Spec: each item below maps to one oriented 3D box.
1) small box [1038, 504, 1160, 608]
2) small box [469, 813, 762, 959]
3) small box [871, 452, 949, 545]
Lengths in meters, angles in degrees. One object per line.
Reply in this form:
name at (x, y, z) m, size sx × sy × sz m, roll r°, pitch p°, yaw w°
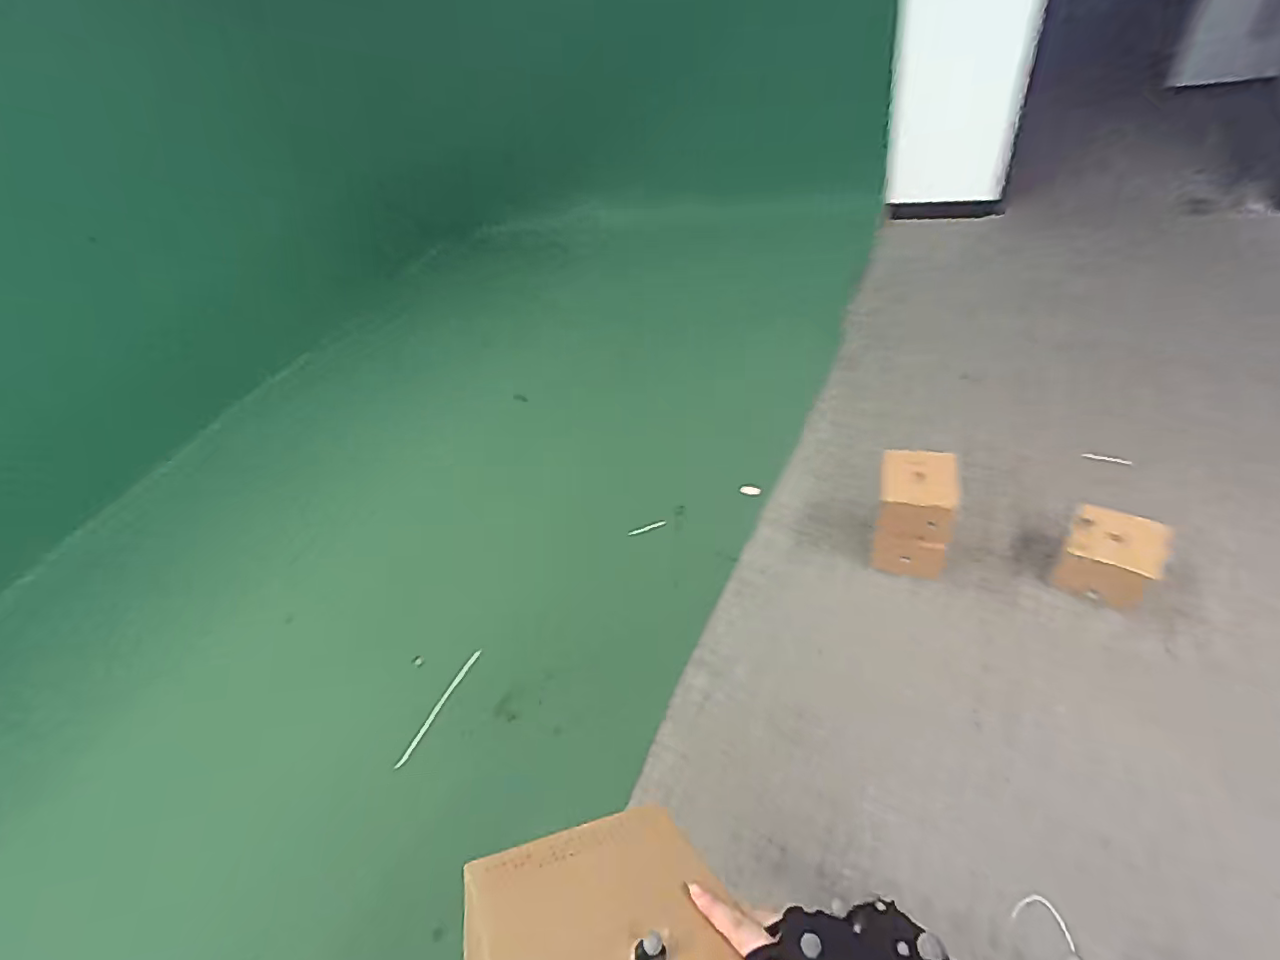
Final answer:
small box at (1.145, 0.196, 1.358) m, size 0.179 × 0.176 × 0.168 m, roll 22°, pitch 59°, yaw 32°
small box at (-0.026, 0.392, 0.407) m, size 0.179 × 0.168 × 0.176 m, roll 1°, pitch 8°, yaw -25°
small box at (0.701, 0.051, 1.411) m, size 0.168 × 0.176 × 0.179 m, roll 5°, pitch 51°, yaw 22°
